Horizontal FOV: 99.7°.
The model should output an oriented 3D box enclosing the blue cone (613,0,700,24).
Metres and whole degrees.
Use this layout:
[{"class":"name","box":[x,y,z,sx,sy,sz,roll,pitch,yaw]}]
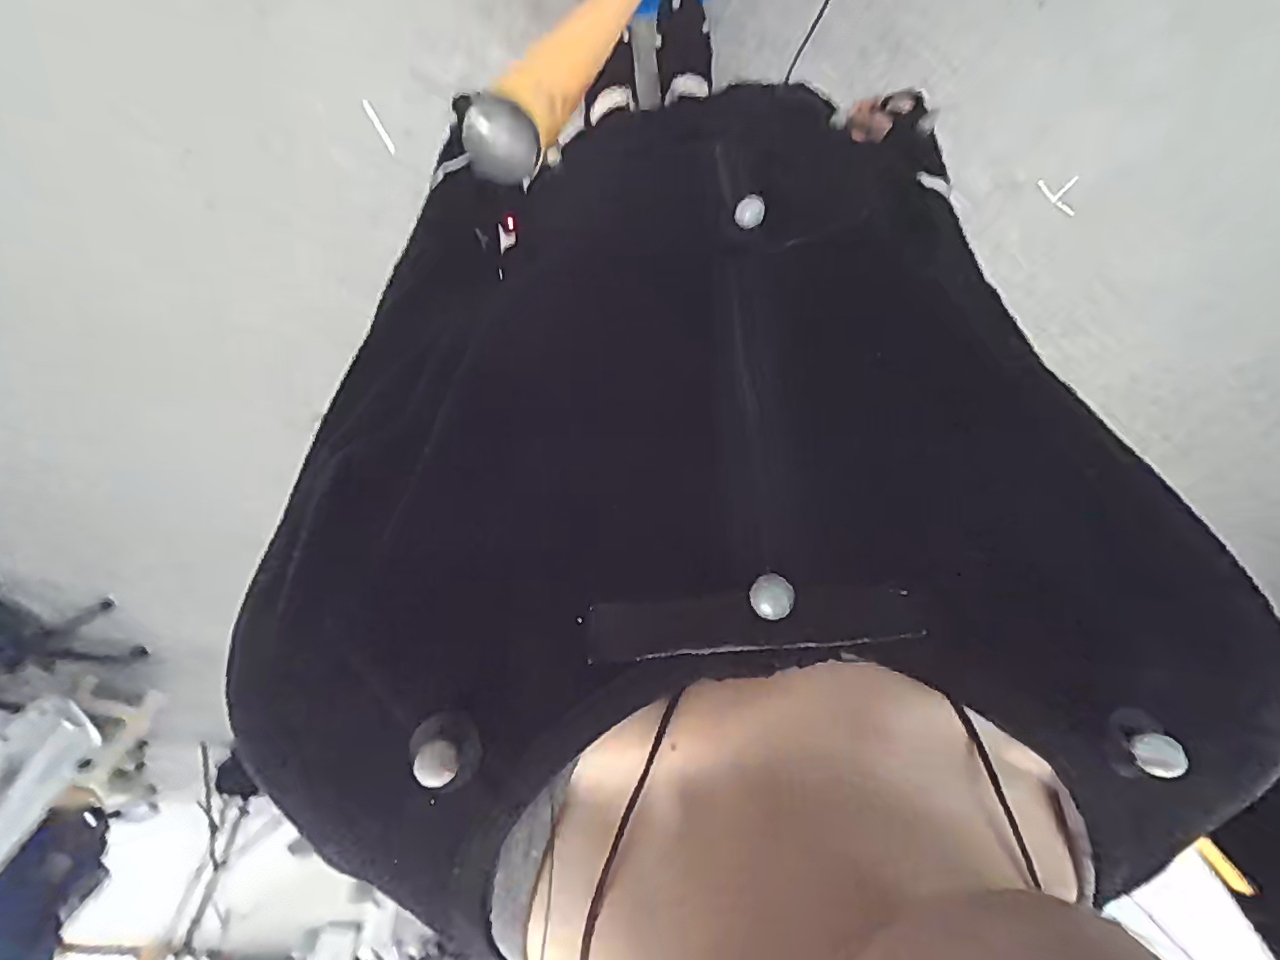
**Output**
[{"class":"blue cone","box":[0.031,-0.831,0.841,0.193,0.380,0.192,-10,134,8]}]
